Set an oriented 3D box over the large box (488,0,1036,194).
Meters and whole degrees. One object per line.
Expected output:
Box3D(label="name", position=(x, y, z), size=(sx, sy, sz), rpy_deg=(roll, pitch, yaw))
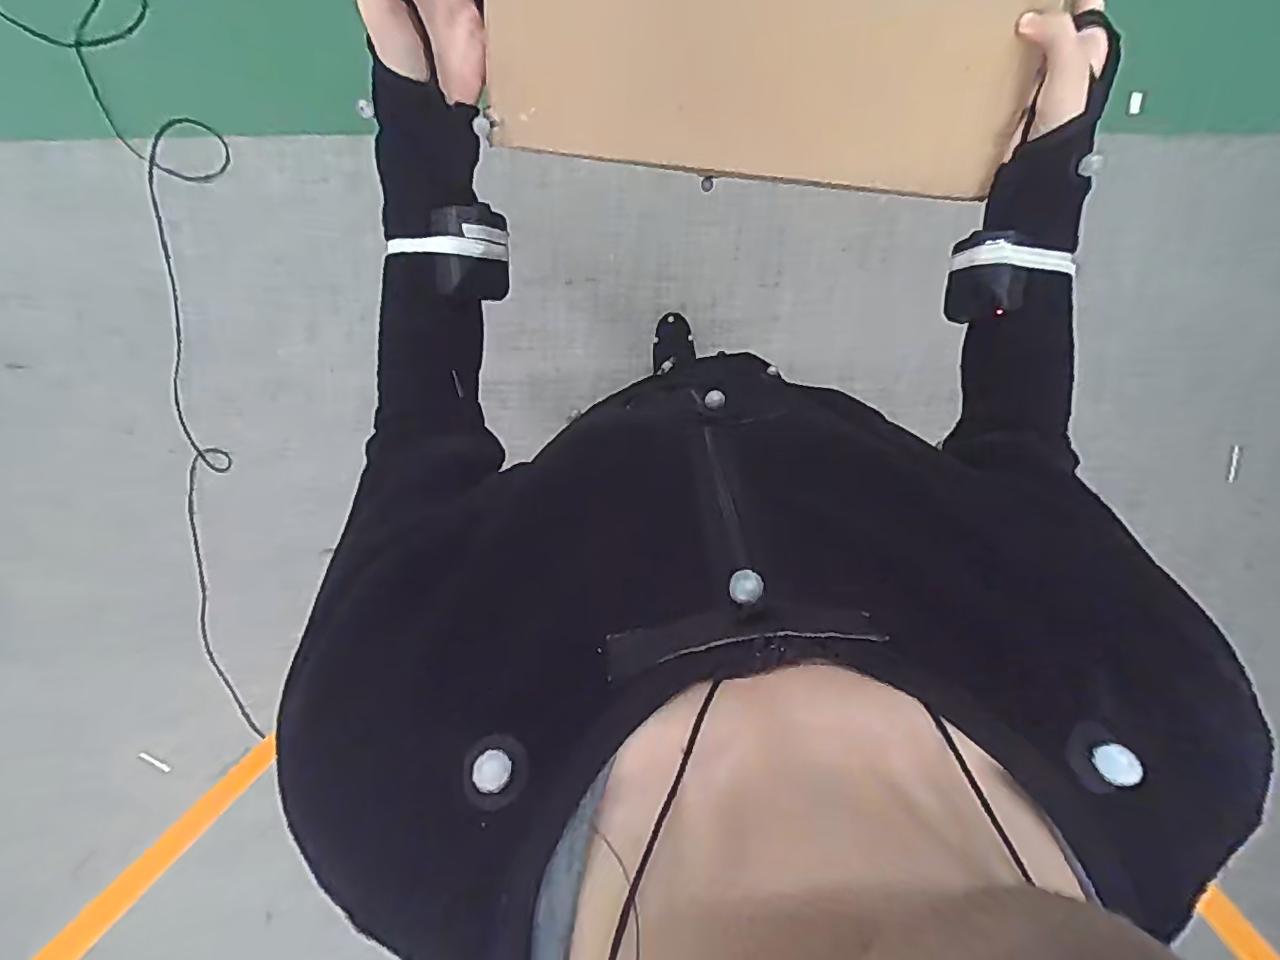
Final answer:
Box3D(label="large box", position=(0.086, -0.457, 0.488), size=(0.408, 0.320, 0.320), rpy_deg=(2, 120, -7))
